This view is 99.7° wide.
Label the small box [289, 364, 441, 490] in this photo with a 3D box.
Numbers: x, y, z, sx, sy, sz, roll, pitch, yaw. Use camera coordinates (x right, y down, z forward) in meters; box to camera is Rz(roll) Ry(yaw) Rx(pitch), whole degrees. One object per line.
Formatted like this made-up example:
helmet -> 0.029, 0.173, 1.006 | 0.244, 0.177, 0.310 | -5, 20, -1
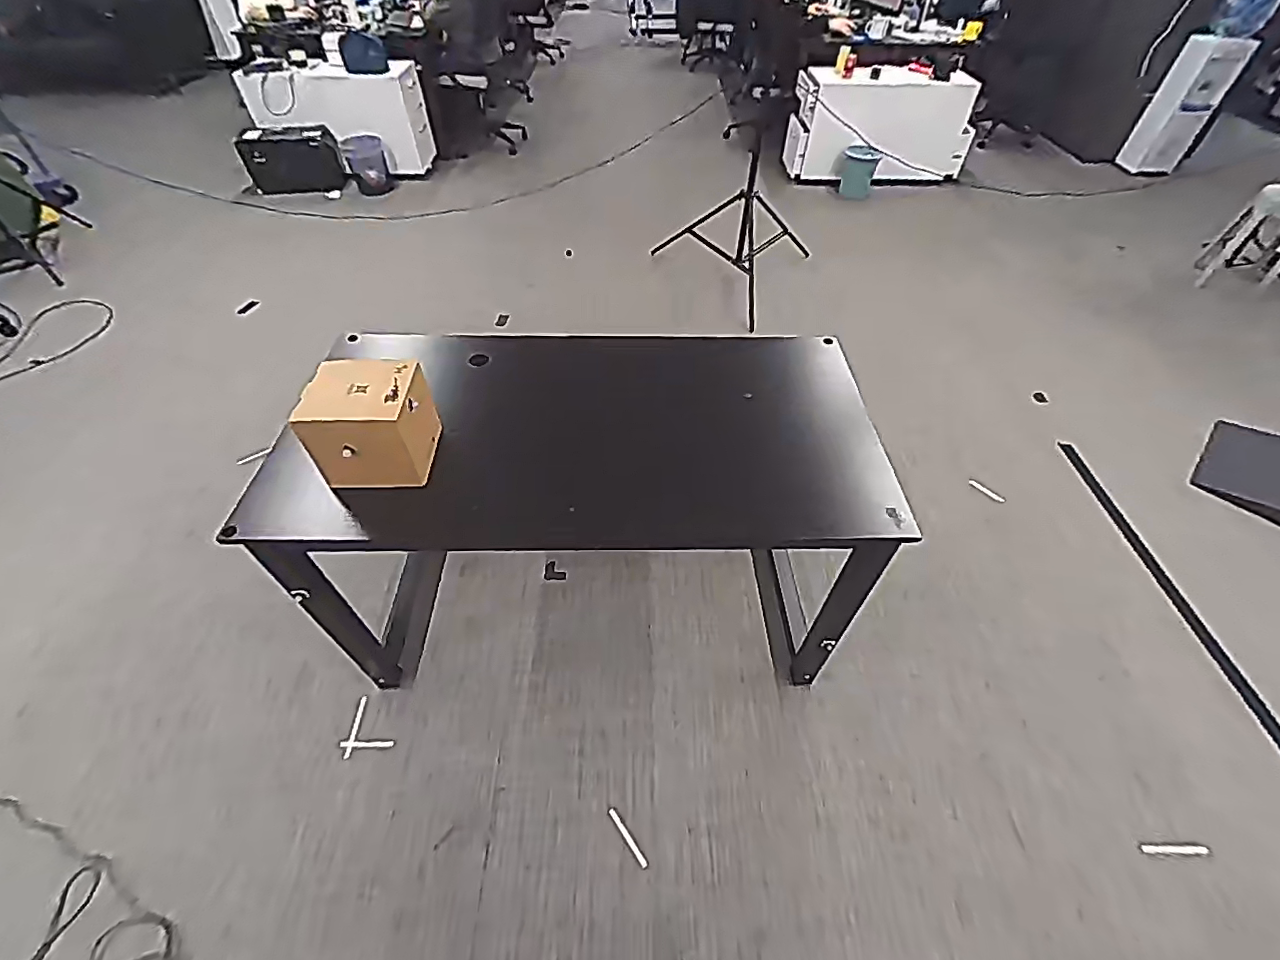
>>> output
small box -> -0.487, -0.094, 0.990 | 0.179, 0.176, 0.168 | -2, 49, -2
